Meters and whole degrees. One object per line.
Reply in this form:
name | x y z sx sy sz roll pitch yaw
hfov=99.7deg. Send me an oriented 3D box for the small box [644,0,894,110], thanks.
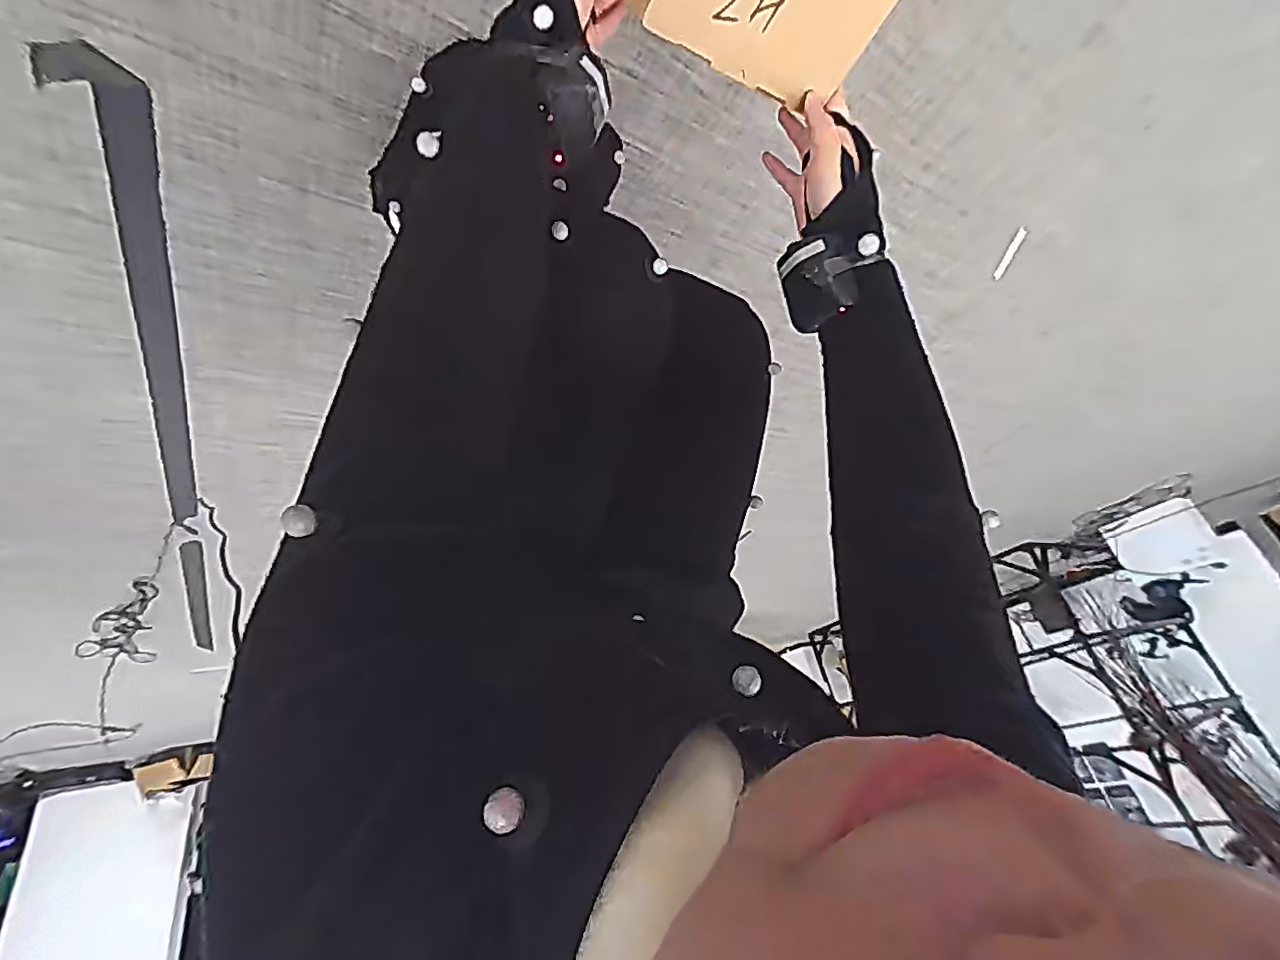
small box | 0.092 -0.413 0.366 0.168 0.176 0.179 5 148 -30
